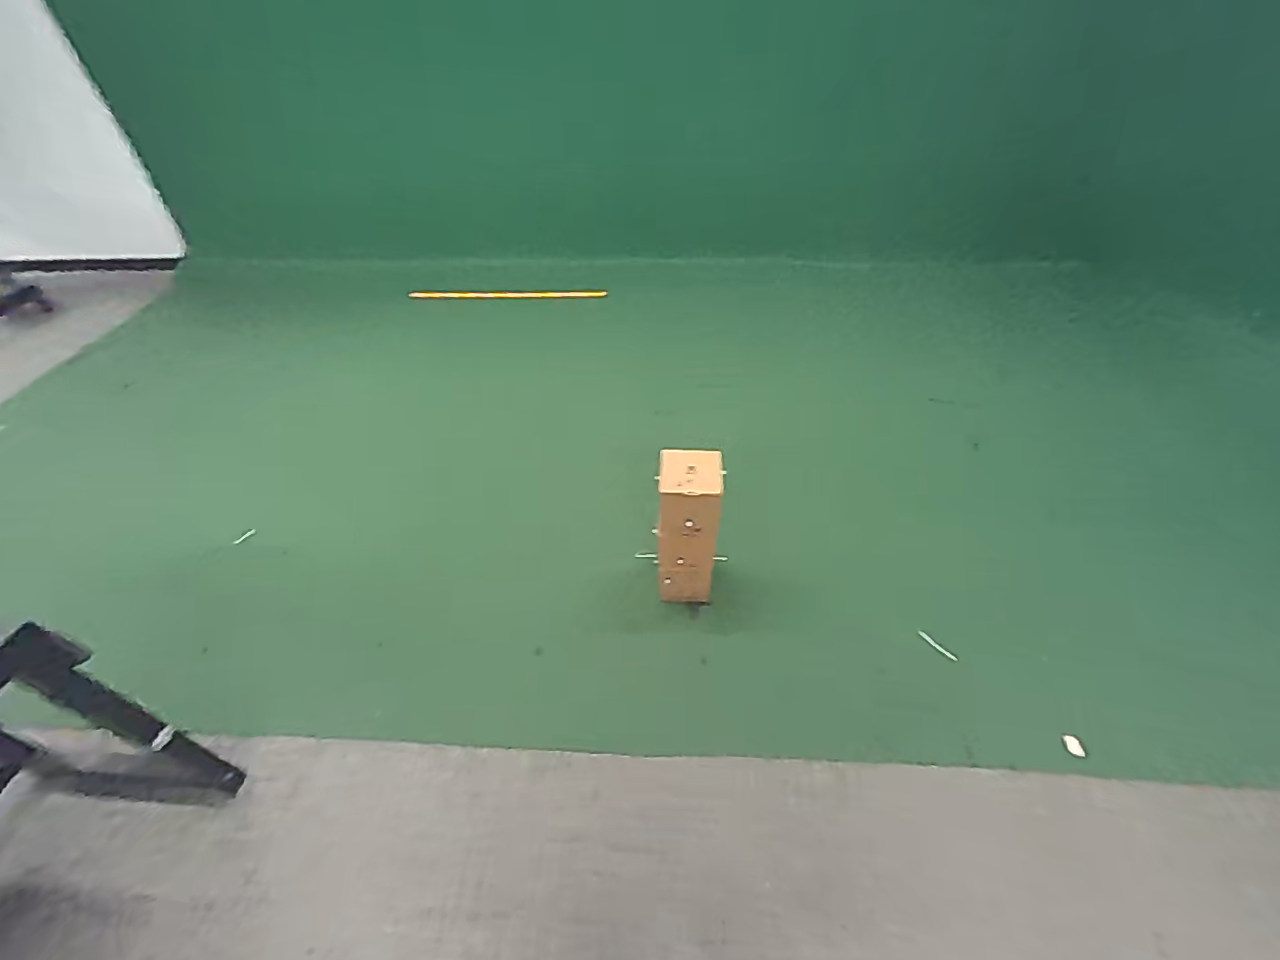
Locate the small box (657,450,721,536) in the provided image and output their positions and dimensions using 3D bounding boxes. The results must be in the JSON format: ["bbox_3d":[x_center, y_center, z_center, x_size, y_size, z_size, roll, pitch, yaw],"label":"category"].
[{"bbox_3d":[0.136,0.036,1.525,0.168,0.176,0.179,3,44,3],"label":"small box"}]

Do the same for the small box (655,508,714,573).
[{"bbox_3d":[0.131,0.159,1.636,0.168,0.176,0.179,2,44,2],"label":"small box"}]
